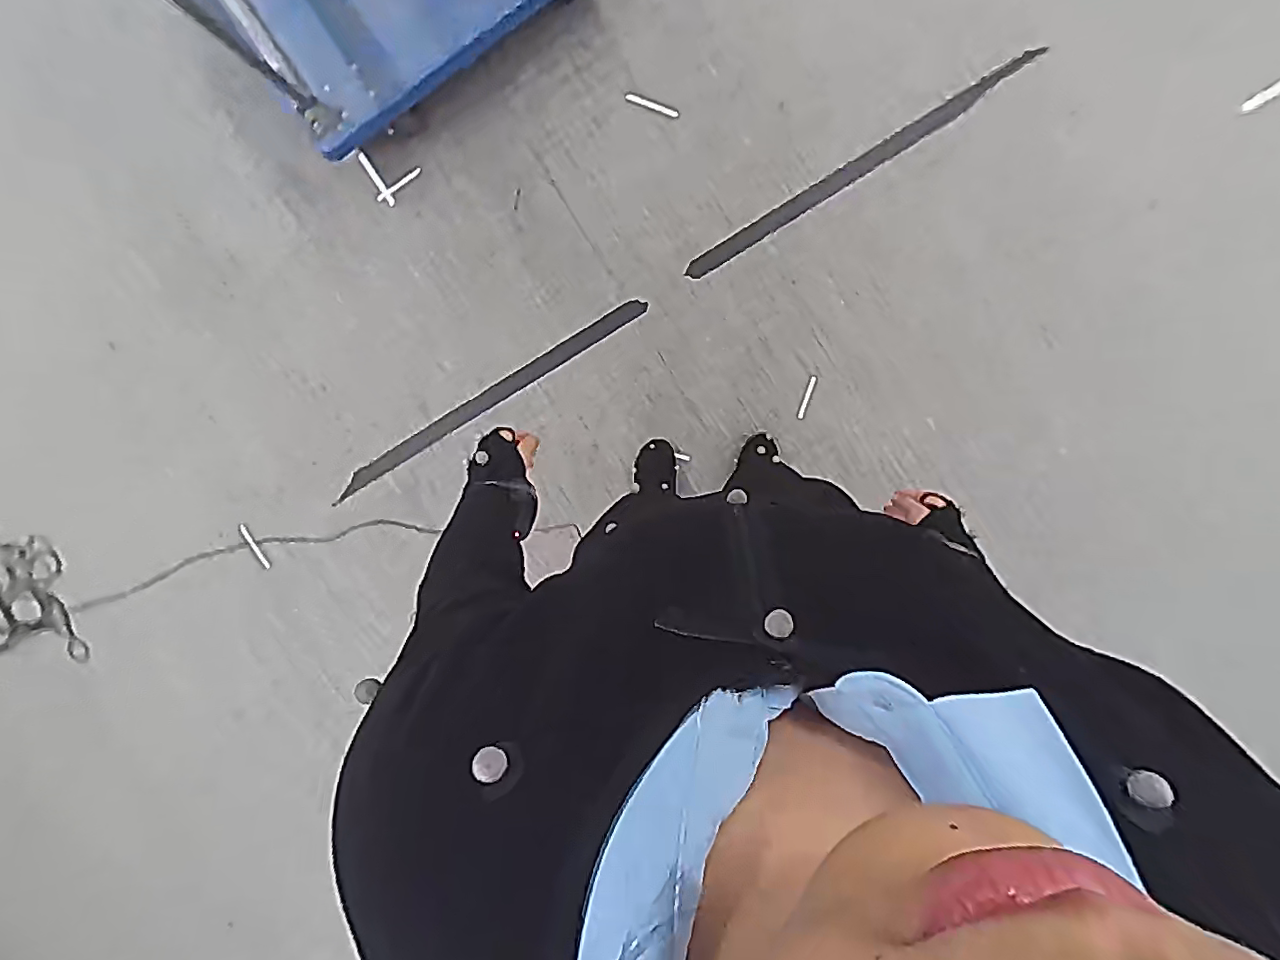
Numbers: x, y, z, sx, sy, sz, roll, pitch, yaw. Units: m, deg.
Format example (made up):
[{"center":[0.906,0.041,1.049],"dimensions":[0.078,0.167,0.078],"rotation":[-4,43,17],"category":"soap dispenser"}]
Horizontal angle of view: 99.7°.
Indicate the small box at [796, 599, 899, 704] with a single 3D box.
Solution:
[{"center":[0.544,0.448,1.442],"dimensions":[0.168,0.176,0.179],"rotation":[-33,93,4],"category":"small box"}]
